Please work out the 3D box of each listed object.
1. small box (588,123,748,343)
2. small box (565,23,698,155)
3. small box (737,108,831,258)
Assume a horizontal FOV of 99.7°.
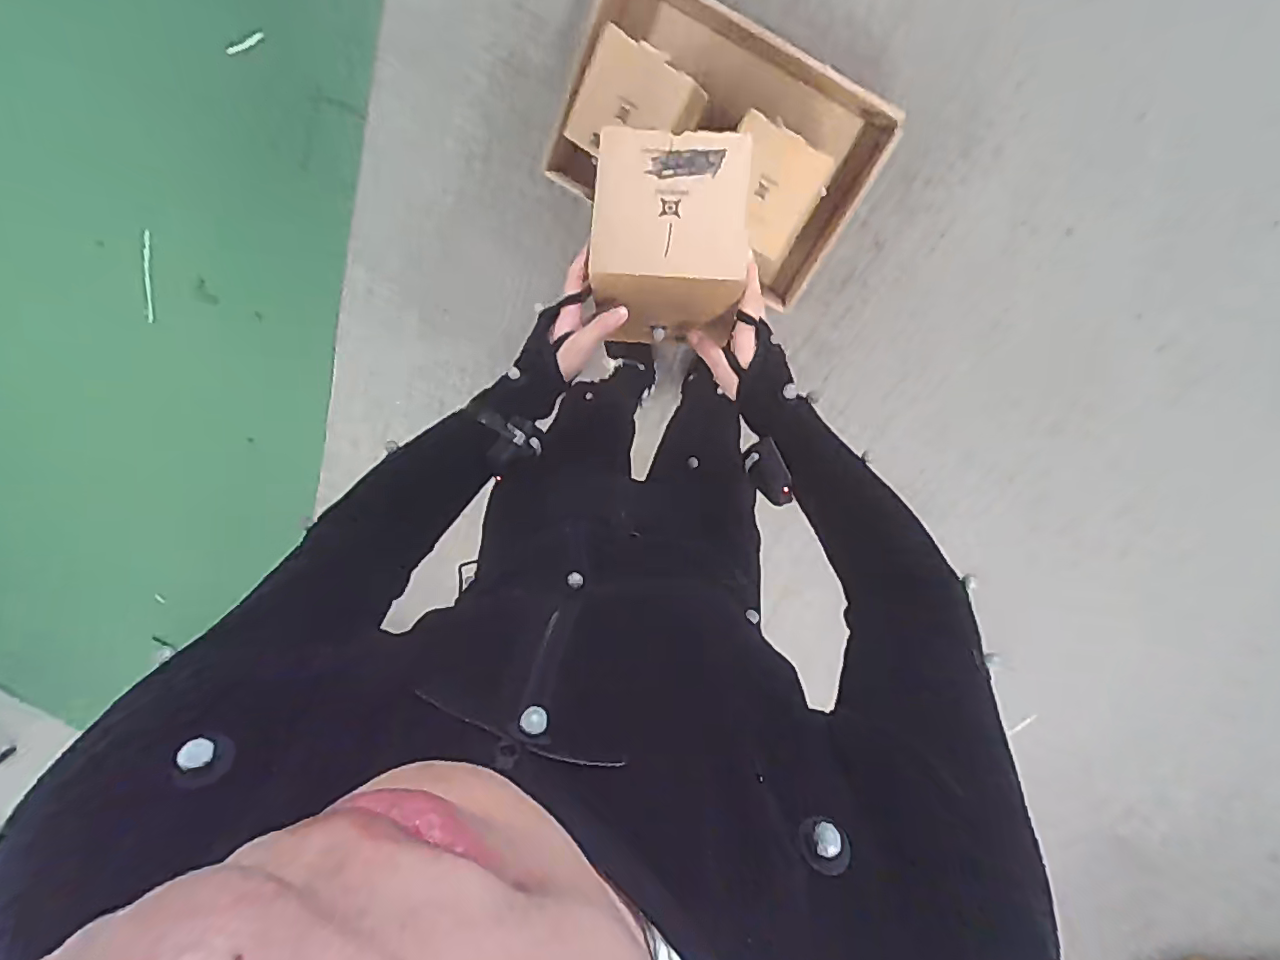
[{"bbox_3d":[0.032,-0.285,0.651,0.168,0.176,0.179,3,81,1],"label":"small box"},{"bbox_3d":[-0.008,-0.662,0.978,0.168,0.176,0.179,32,119,-5],"label":"small box"},{"bbox_3d":[0.223,-0.539,0.993,0.168,0.176,0.179,31,121,-2],"label":"small box"}]
